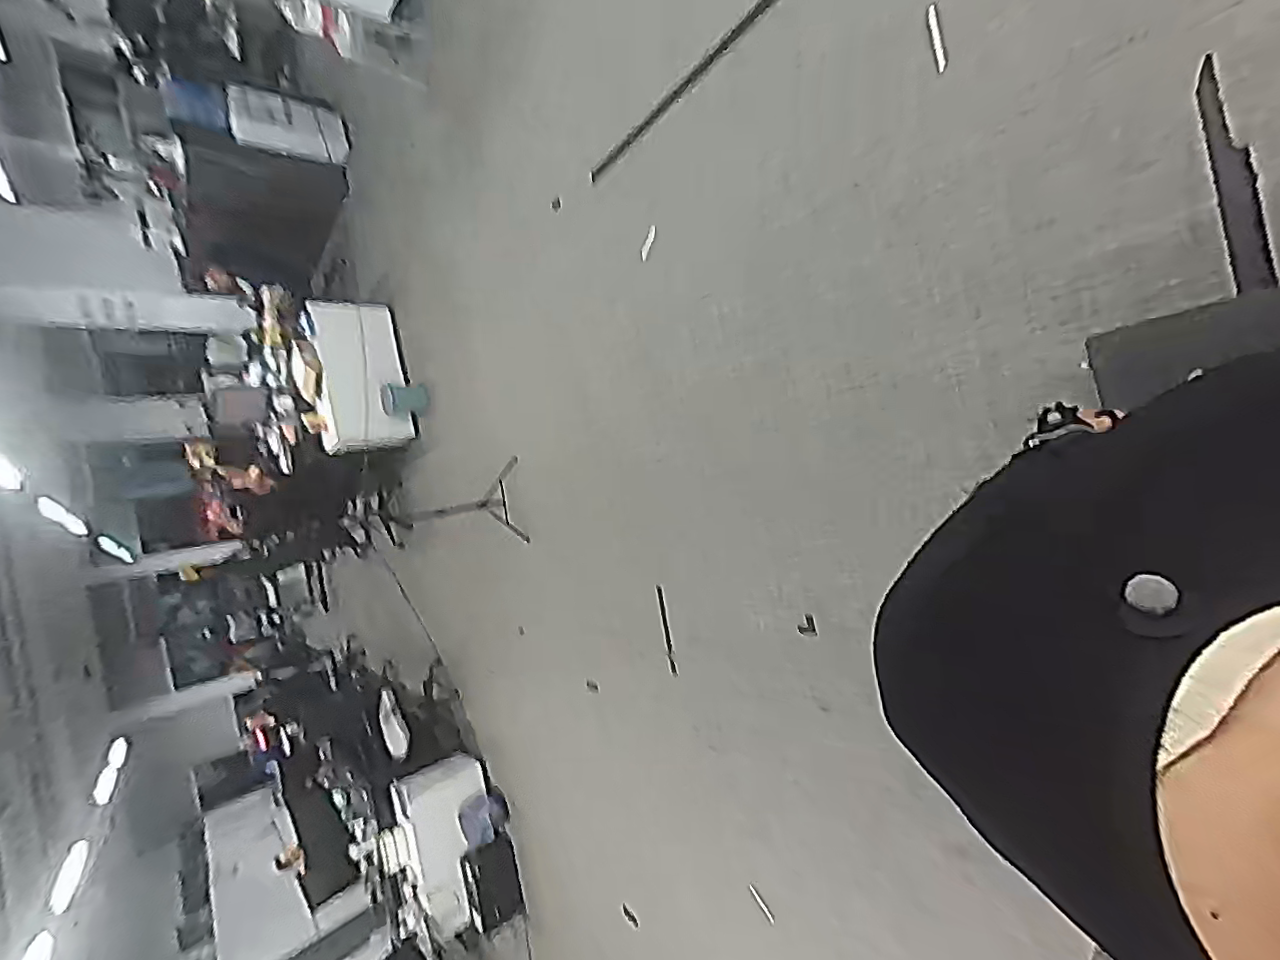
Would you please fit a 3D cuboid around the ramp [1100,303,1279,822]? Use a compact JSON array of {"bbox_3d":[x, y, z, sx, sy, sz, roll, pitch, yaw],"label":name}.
[{"bbox_3d":[1.212,0.177,0.904,0.509,0.206,0.991,-17,84,48],"label":"ramp"}]
